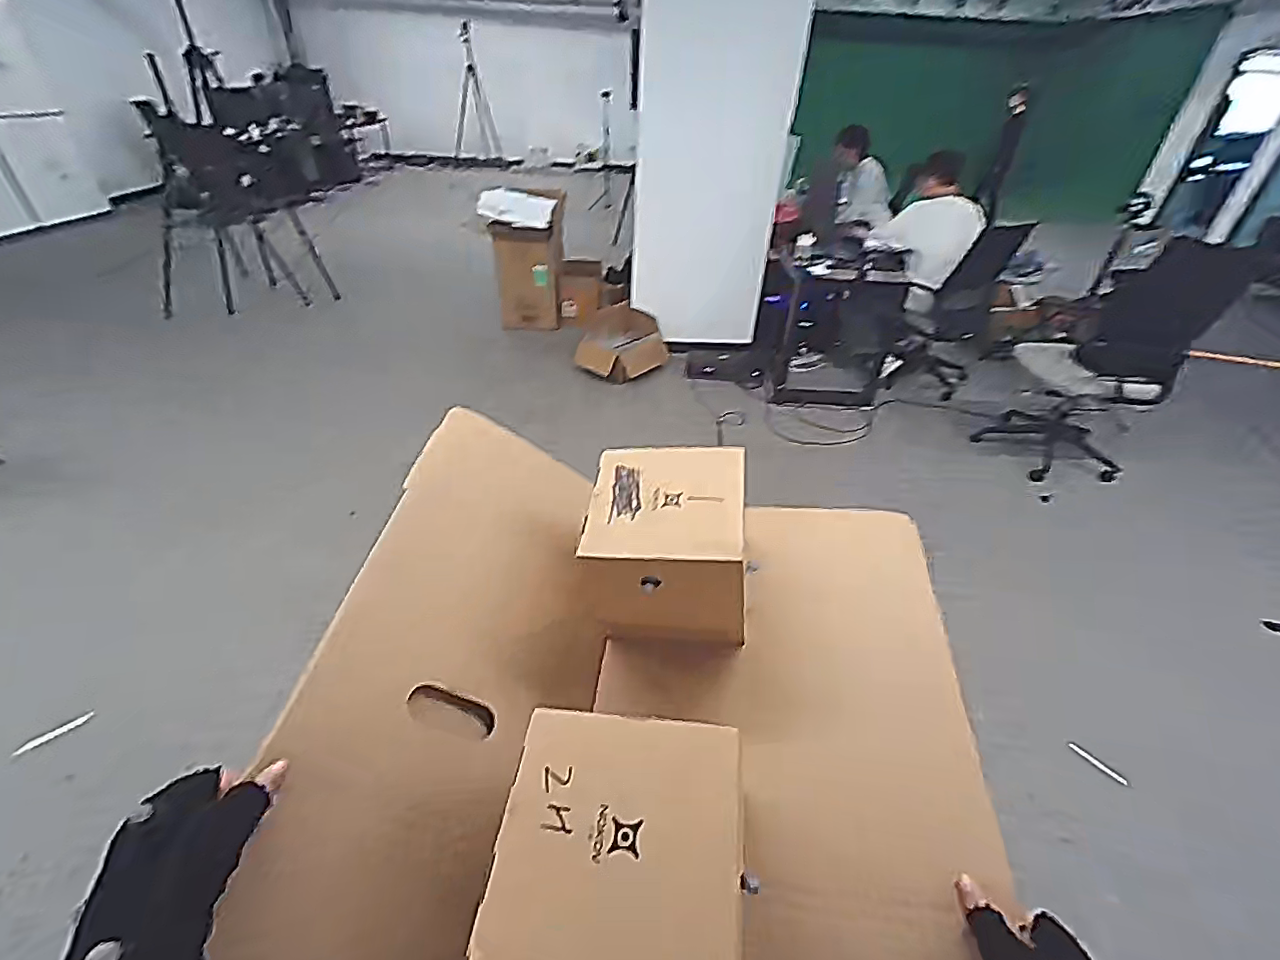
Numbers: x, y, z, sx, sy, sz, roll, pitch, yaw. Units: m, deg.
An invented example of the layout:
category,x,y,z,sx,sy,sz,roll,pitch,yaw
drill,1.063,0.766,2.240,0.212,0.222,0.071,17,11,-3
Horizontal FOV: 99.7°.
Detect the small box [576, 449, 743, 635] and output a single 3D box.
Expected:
category,x,y,z,sx,sy,sz,roll,pitch,yaw
small box,0.037,0.078,0.673,0.179,0.176,0.168,0,47,11
